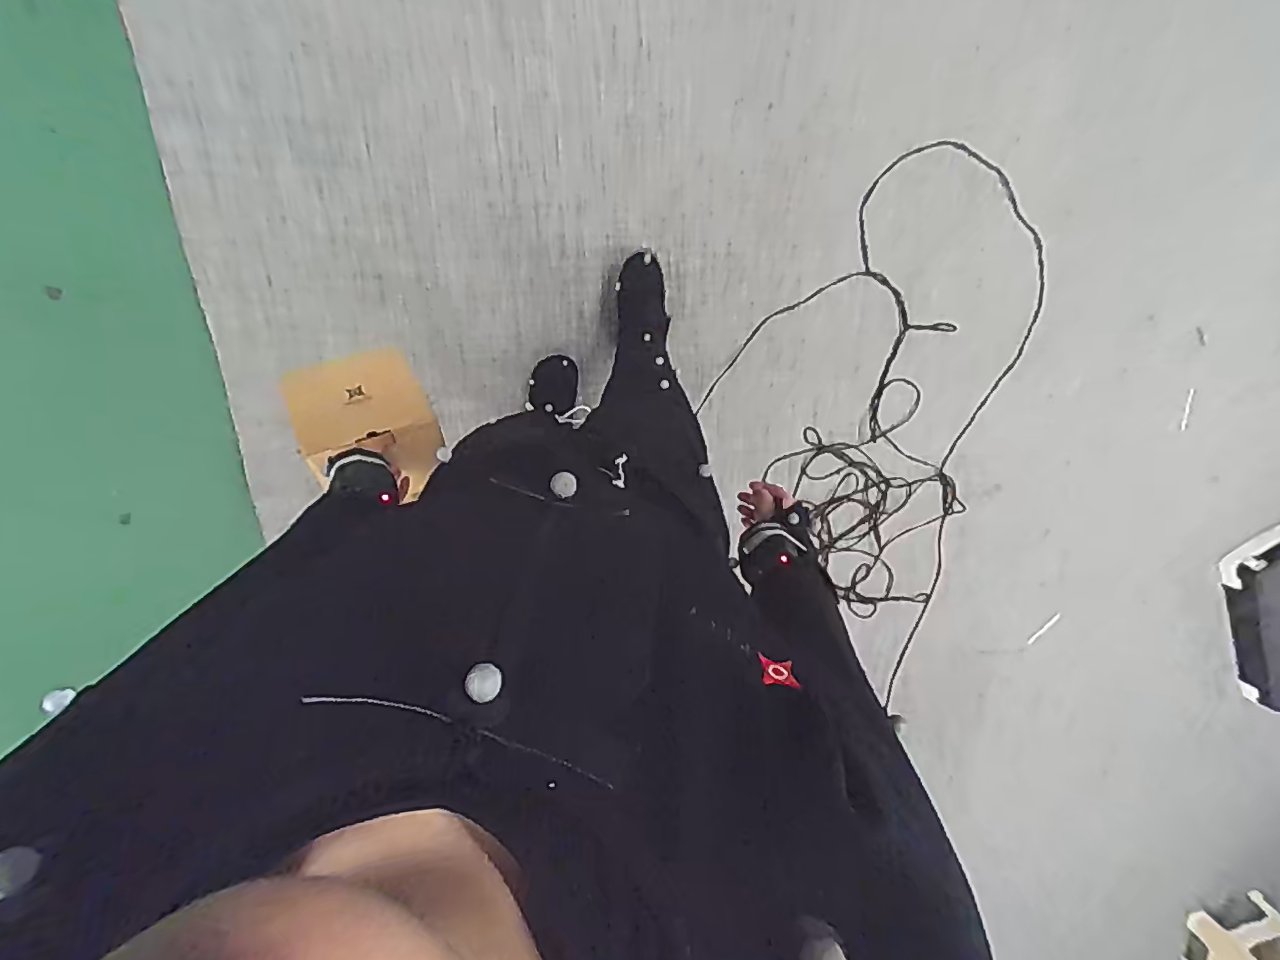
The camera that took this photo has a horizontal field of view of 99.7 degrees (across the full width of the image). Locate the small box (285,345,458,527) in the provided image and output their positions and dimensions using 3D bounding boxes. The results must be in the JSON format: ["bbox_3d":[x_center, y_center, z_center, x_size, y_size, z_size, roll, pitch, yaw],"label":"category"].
[{"bbox_3d":[-0.385,-0.064,0.794,0.168,0.179,0.176,-23,147,-22],"label":"small box"}]
